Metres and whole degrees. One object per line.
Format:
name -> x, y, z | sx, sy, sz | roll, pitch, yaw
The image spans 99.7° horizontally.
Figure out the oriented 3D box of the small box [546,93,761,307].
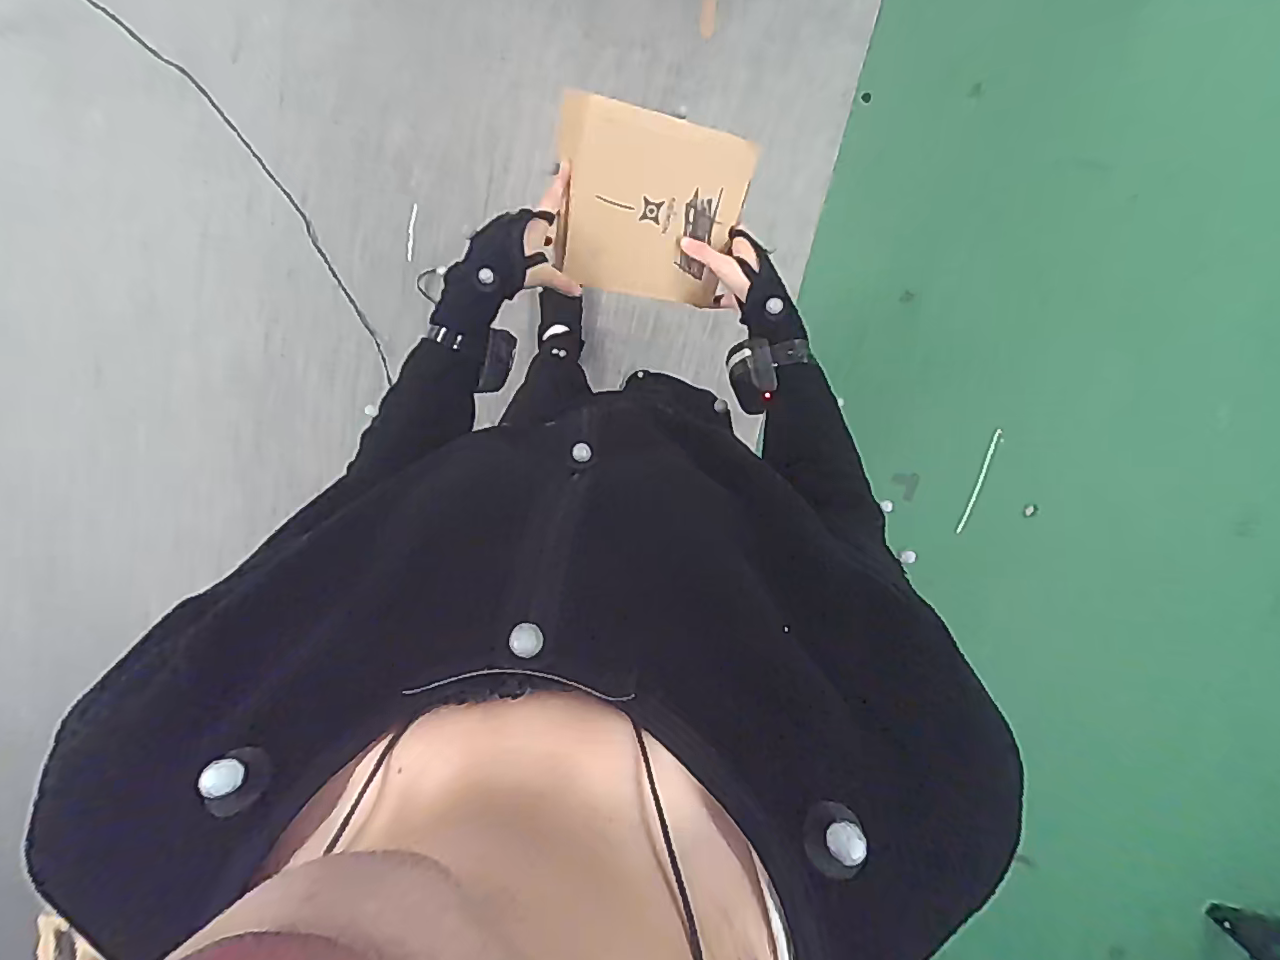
small box -> 0.000, -0.313, 0.602 | 0.179, 0.176, 0.168 | 5, 124, -19
